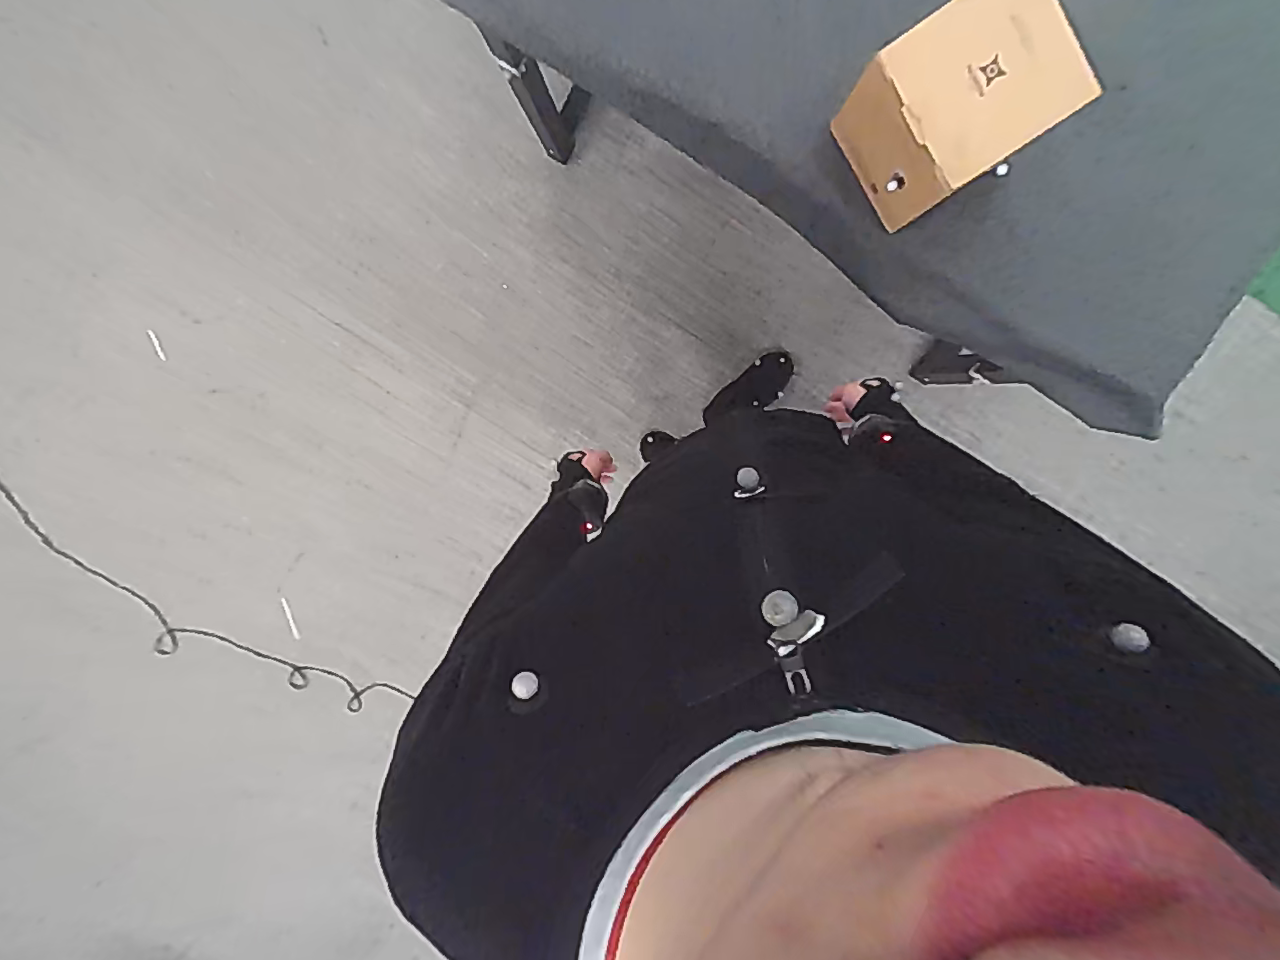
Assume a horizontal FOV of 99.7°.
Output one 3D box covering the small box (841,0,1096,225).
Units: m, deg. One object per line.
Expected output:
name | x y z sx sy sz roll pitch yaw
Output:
small box | 0.363 -0.438 0.642 0.179 0.176 0.168 -33 98 7
